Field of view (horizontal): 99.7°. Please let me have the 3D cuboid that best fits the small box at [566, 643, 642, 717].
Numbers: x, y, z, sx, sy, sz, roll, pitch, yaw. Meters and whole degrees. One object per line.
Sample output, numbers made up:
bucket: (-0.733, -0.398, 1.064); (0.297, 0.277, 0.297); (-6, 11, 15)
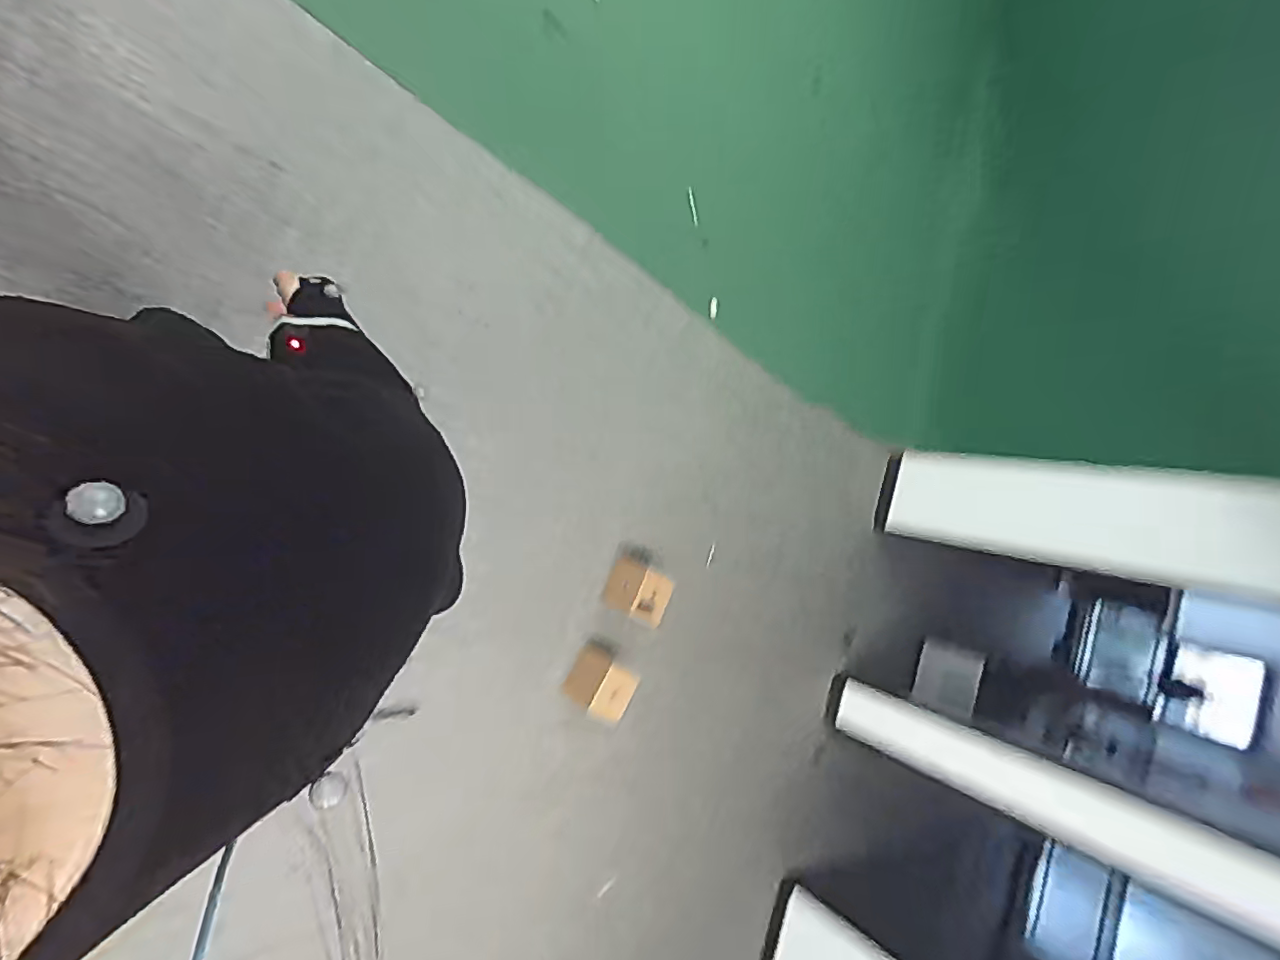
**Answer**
small box: (-0.133, 0.711, 1.935); (0.168, 0.176, 0.179); (42, 71, -37)
